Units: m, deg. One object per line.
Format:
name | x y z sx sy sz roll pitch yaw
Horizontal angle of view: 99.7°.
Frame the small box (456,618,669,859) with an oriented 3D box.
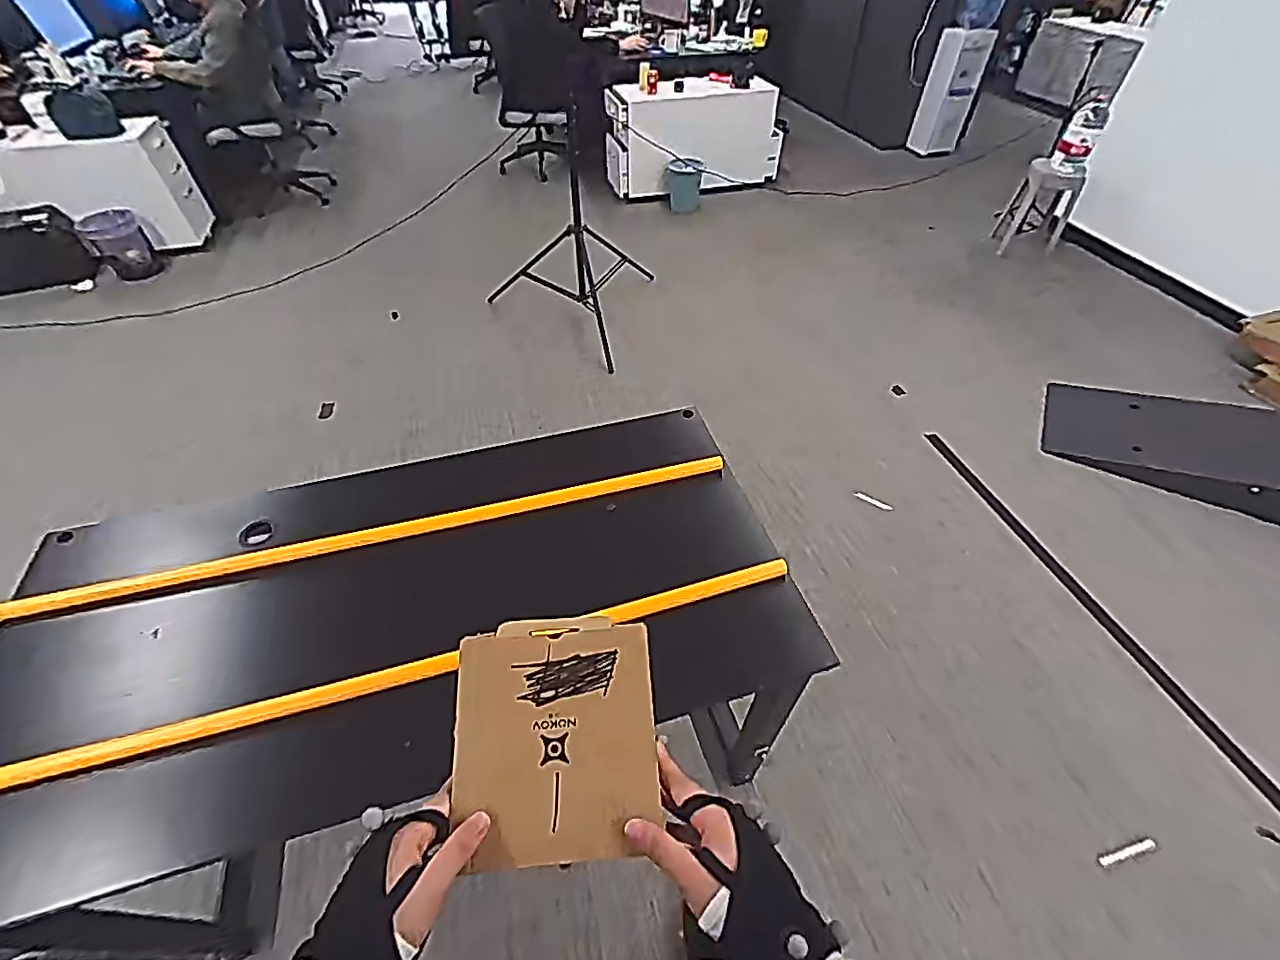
small box | -0.067 0.245 0.522 0.168 0.176 0.179 -3 62 -3
